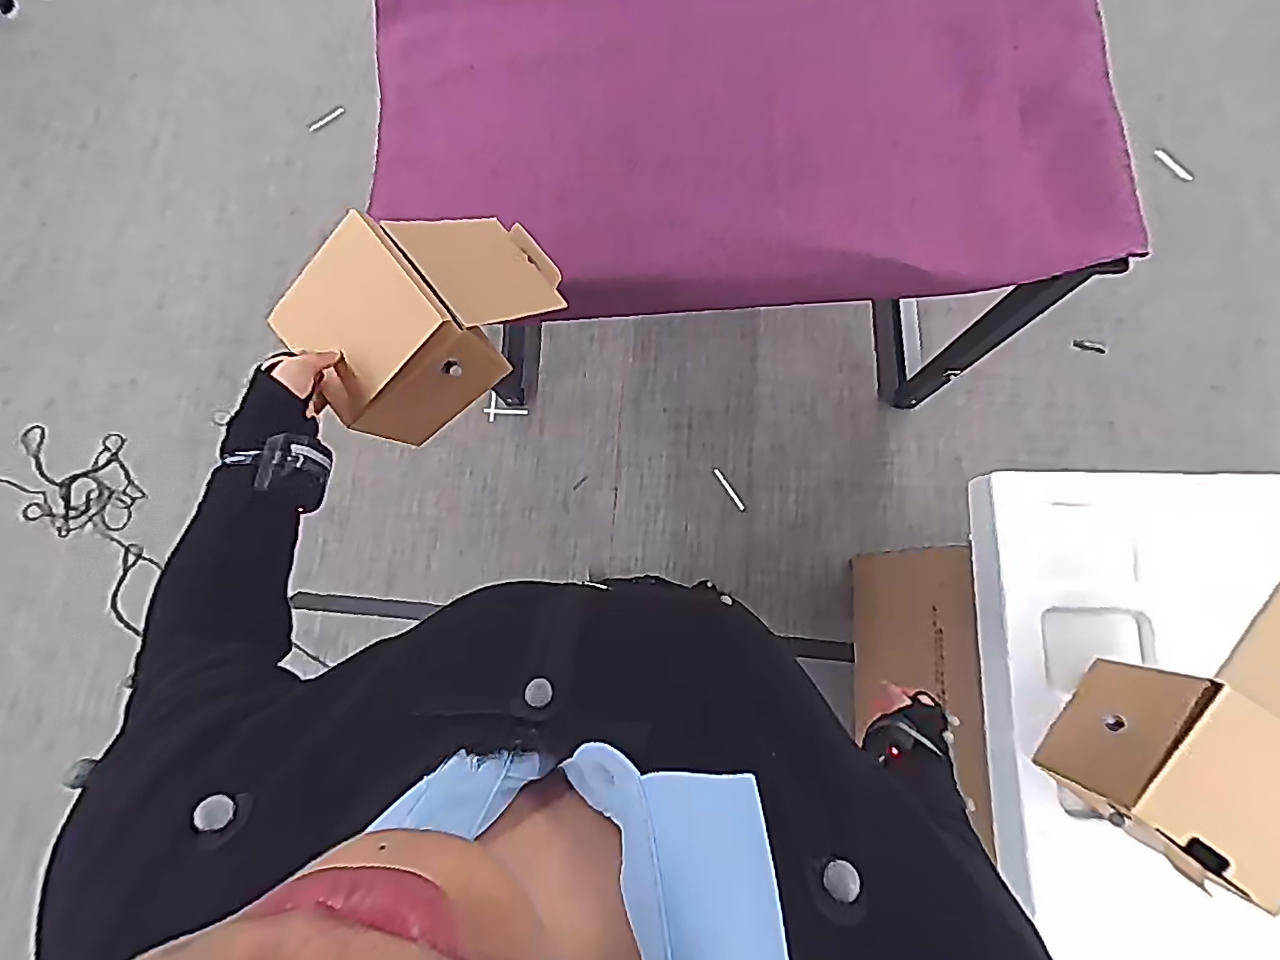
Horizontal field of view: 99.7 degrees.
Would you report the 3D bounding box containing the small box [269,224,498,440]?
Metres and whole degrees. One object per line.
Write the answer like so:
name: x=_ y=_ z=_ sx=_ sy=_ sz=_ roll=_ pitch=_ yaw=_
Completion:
small box: x=-0.304 y=-0.173 z=0.688 sx=0.179 sy=0.176 sz=0.168 roll=-39 pitch=83 yaw=1
